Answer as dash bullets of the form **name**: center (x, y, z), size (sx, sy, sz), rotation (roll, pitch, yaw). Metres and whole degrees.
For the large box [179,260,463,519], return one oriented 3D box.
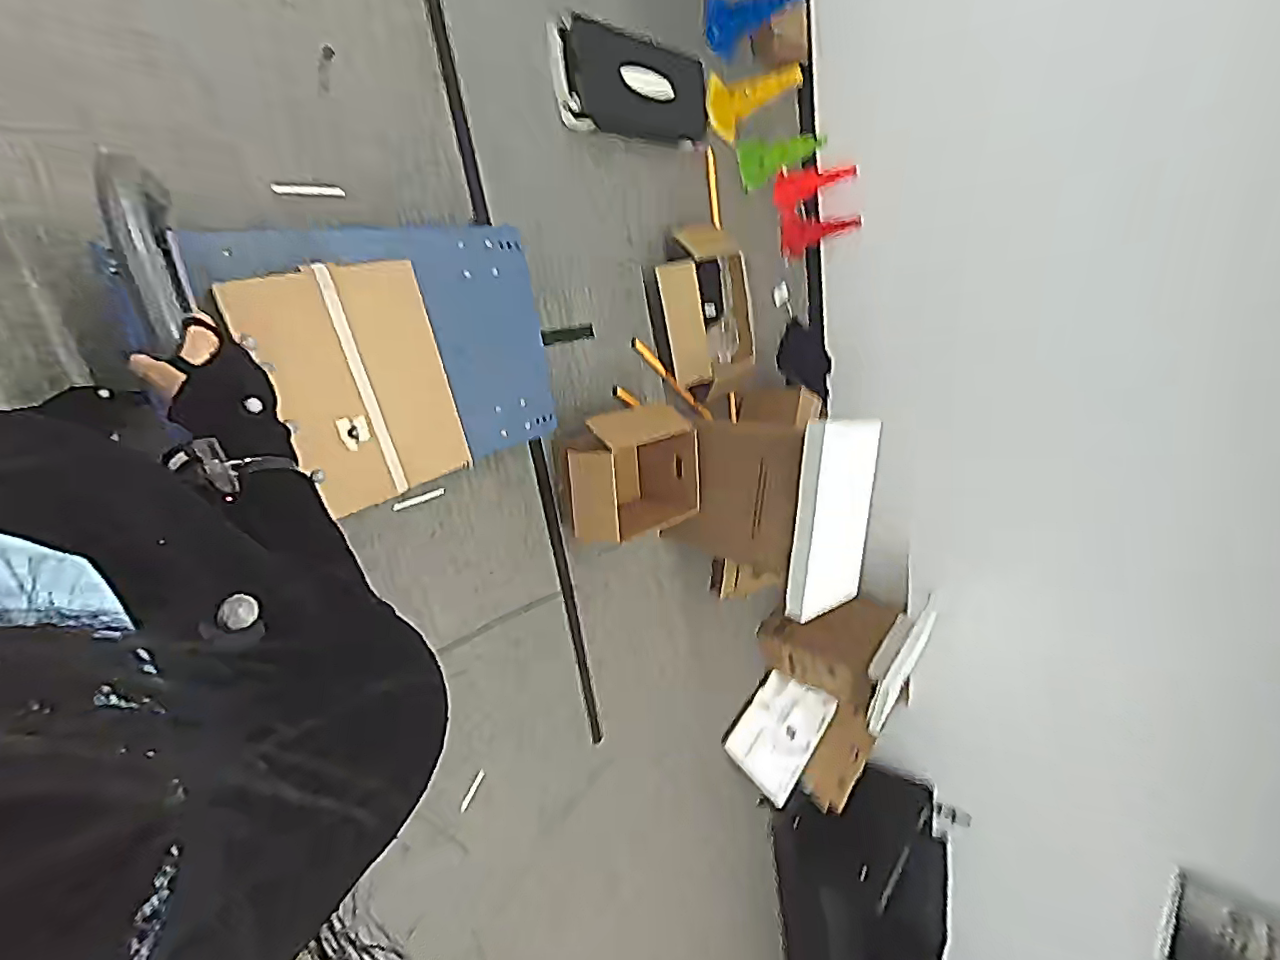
- **large box**: center (-0.615, -0.188, 1.067), size (0.320, 0.320, 0.408), rotation (-28, 118, -39)
